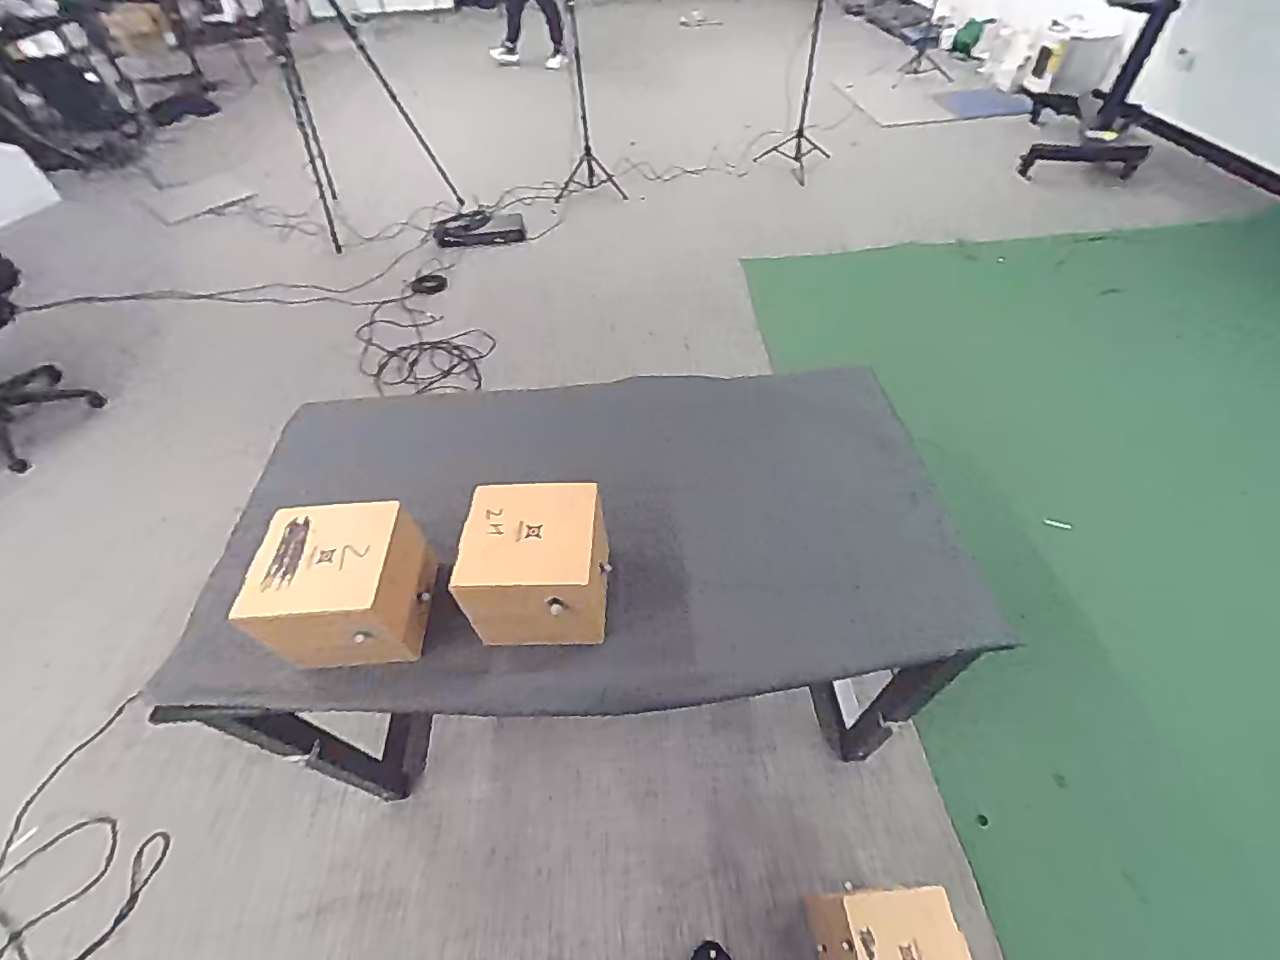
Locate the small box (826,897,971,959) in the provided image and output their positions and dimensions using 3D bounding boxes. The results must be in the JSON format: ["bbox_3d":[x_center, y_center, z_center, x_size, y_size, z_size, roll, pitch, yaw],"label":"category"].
[{"bbox_3d":[0.432,0.802,0.900,0.179,0.176,0.168,-4,51,0],"label":"small box"}]

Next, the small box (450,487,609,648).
[{"bbox_3d":[-0.140,0.127,0.767,0.179,0.176,0.168,-2,48,4],"label":"small box"}]

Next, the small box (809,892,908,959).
[{"bbox_3d":[0.437,0.906,1.028,0.168,0.176,0.179,-6,49,-1],"label":"small box"}]
